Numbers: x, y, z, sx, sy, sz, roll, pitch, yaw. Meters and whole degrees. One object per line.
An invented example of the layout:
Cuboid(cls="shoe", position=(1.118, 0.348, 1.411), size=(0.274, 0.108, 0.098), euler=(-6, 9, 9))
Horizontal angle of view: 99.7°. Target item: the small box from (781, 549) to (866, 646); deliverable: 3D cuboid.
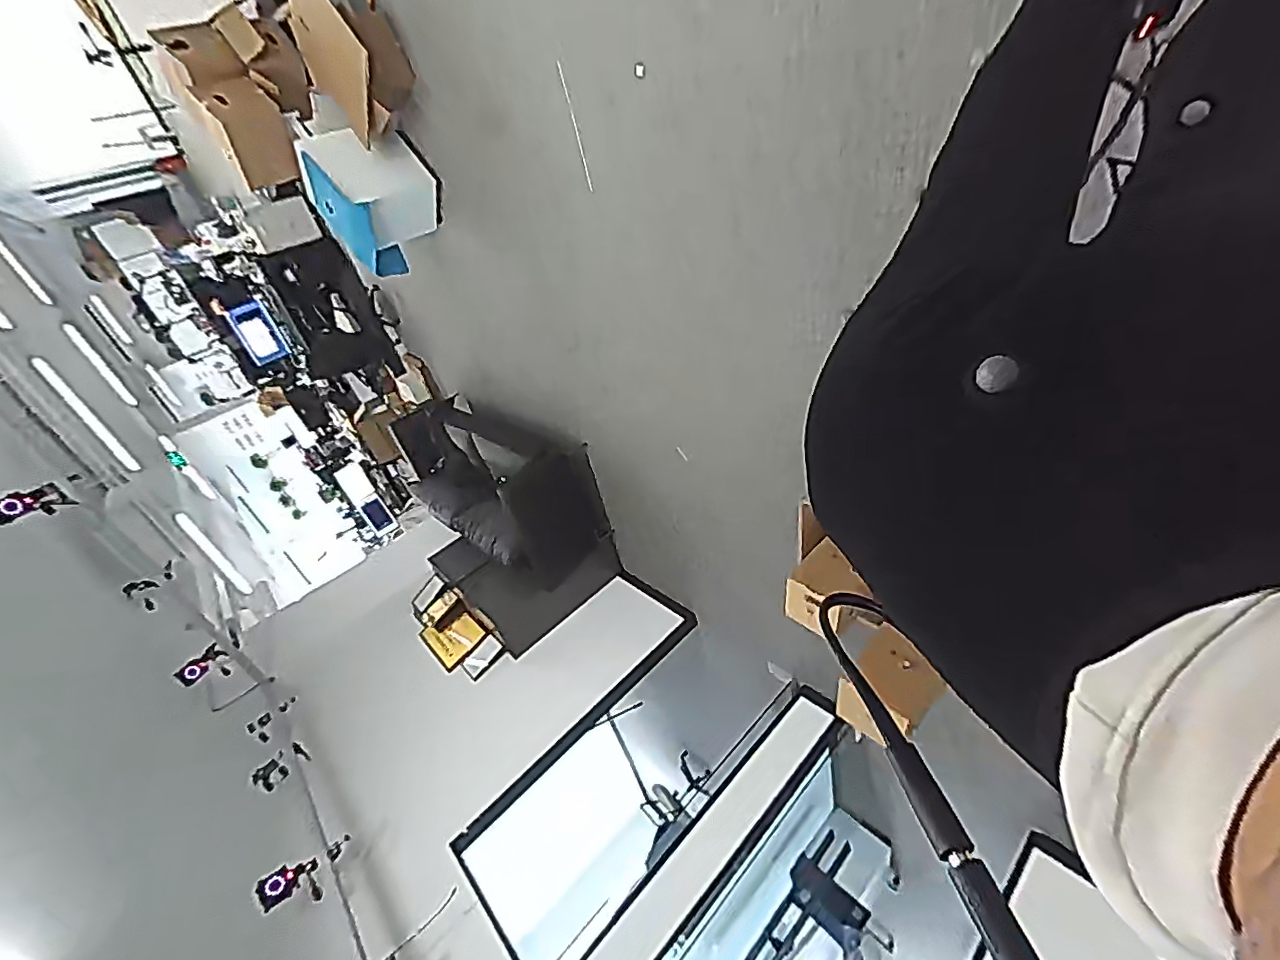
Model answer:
Cuboid(cls="small box", position=(0.527, 0.330, 1.552), size=(0.168, 0.176, 0.179), euler=(30, 144, 39))

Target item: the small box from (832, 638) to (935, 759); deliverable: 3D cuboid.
Cuboid(cls="small box", position=(0.590, 0.526, 1.317), size=(0.168, 0.176, 0.179), euler=(28, 142, 39))

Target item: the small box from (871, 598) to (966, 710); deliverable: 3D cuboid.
Cuboid(cls="small box", position=(0.708, 0.443, 1.392), size=(0.168, 0.176, 0.179), euler=(28, 142, 40))
